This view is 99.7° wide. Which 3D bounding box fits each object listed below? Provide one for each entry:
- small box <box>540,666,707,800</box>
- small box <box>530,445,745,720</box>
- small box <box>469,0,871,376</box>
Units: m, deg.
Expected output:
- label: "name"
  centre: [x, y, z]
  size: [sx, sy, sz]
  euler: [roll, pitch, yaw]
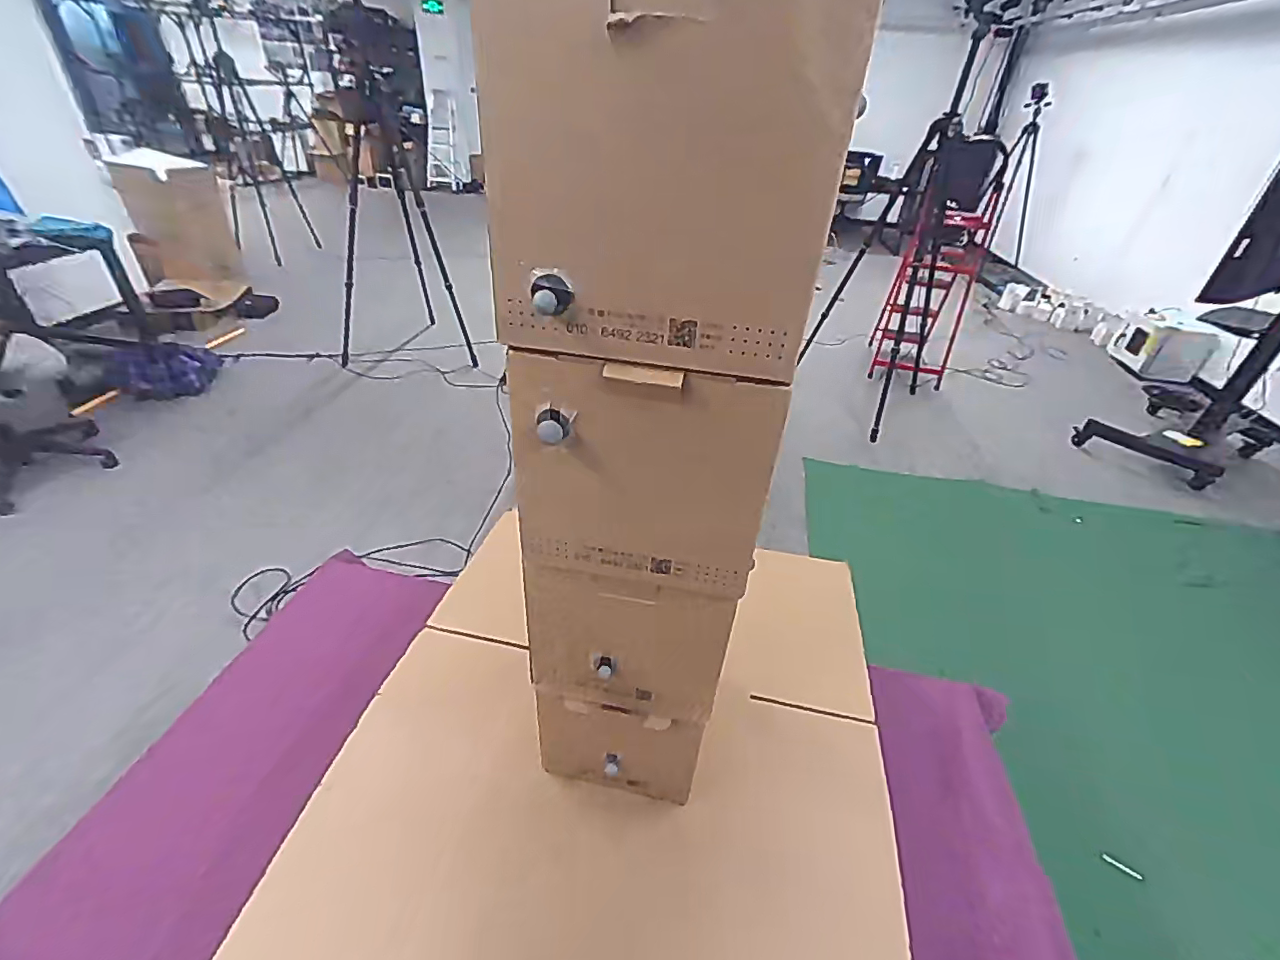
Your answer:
- label: "small box"
  centre: [-0.006, 0.220, 0.616]
  size: [0.168, 0.176, 0.179]
  euler: [9, 35, 8]
- label: "small box"
  centre: [0.003, 0.091, 0.516]
  size: [0.168, 0.176, 0.179]
  euler: [9, 35, 6]
- label: "small box"
  centre: [0.021, -0.175, 0.322]
  size: [0.168, 0.176, 0.179]
  euler: [9, 34, 6]
